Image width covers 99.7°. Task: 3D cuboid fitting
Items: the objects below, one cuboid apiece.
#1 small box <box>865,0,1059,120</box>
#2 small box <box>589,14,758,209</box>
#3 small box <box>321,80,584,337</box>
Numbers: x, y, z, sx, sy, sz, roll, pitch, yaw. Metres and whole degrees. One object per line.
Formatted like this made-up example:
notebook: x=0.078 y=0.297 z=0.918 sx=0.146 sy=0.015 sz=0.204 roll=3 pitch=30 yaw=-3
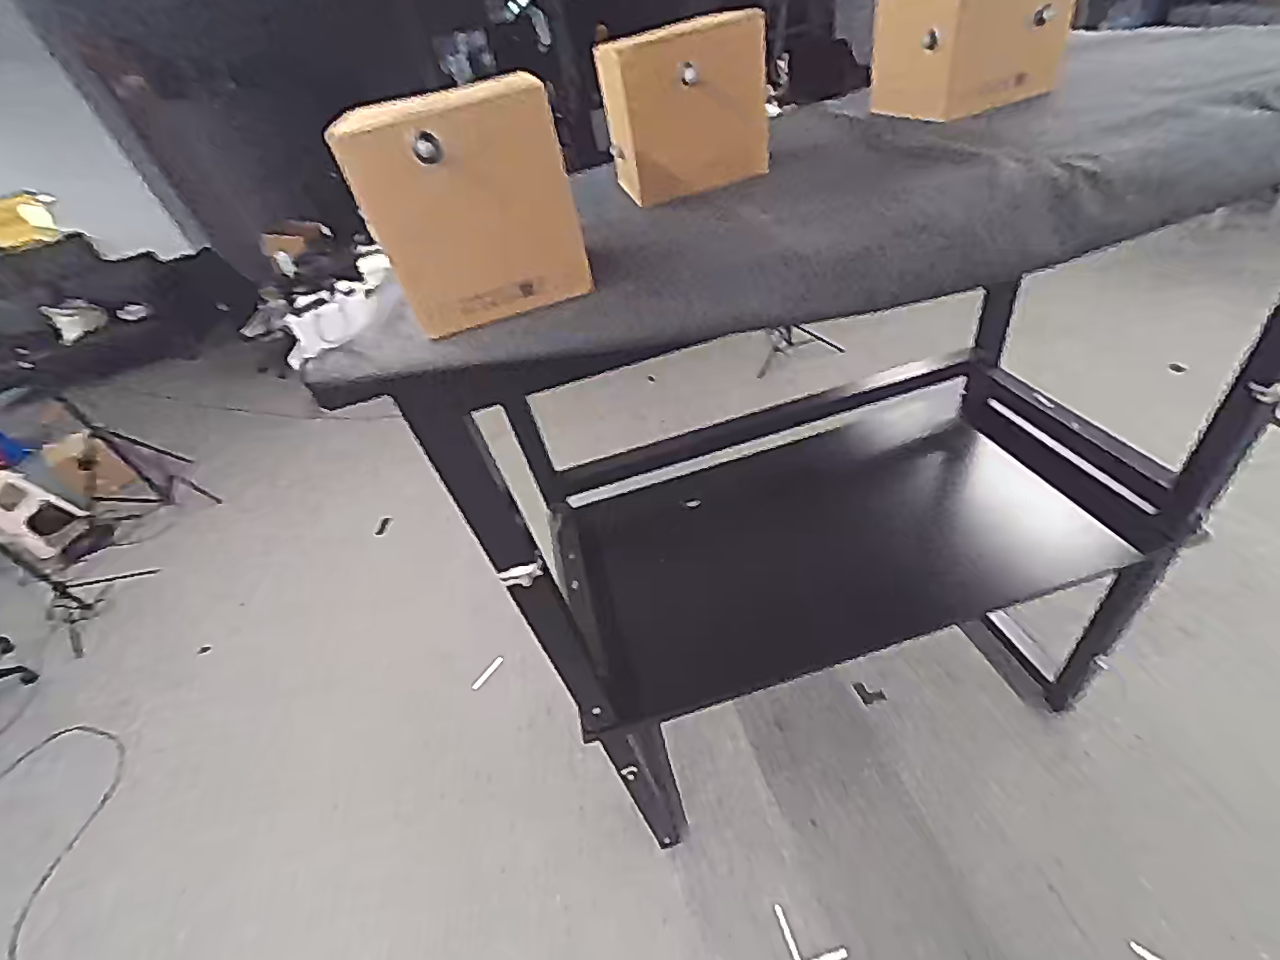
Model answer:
small box: x=0.428 y=-0.605 z=0.728 sx=0.168 sy=0.176 sz=0.179 roll=-18 pitch=41 yaw=-5
small box: x=0.046 y=-0.483 z=0.710 sx=0.179 sy=0.176 sz=0.168 roll=-17 pitch=41 yaw=-2
small box: x=-0.163 y=-0.260 z=0.516 sx=0.168 sy=0.176 sz=0.179 roll=-19 pitch=40 yaw=-5
